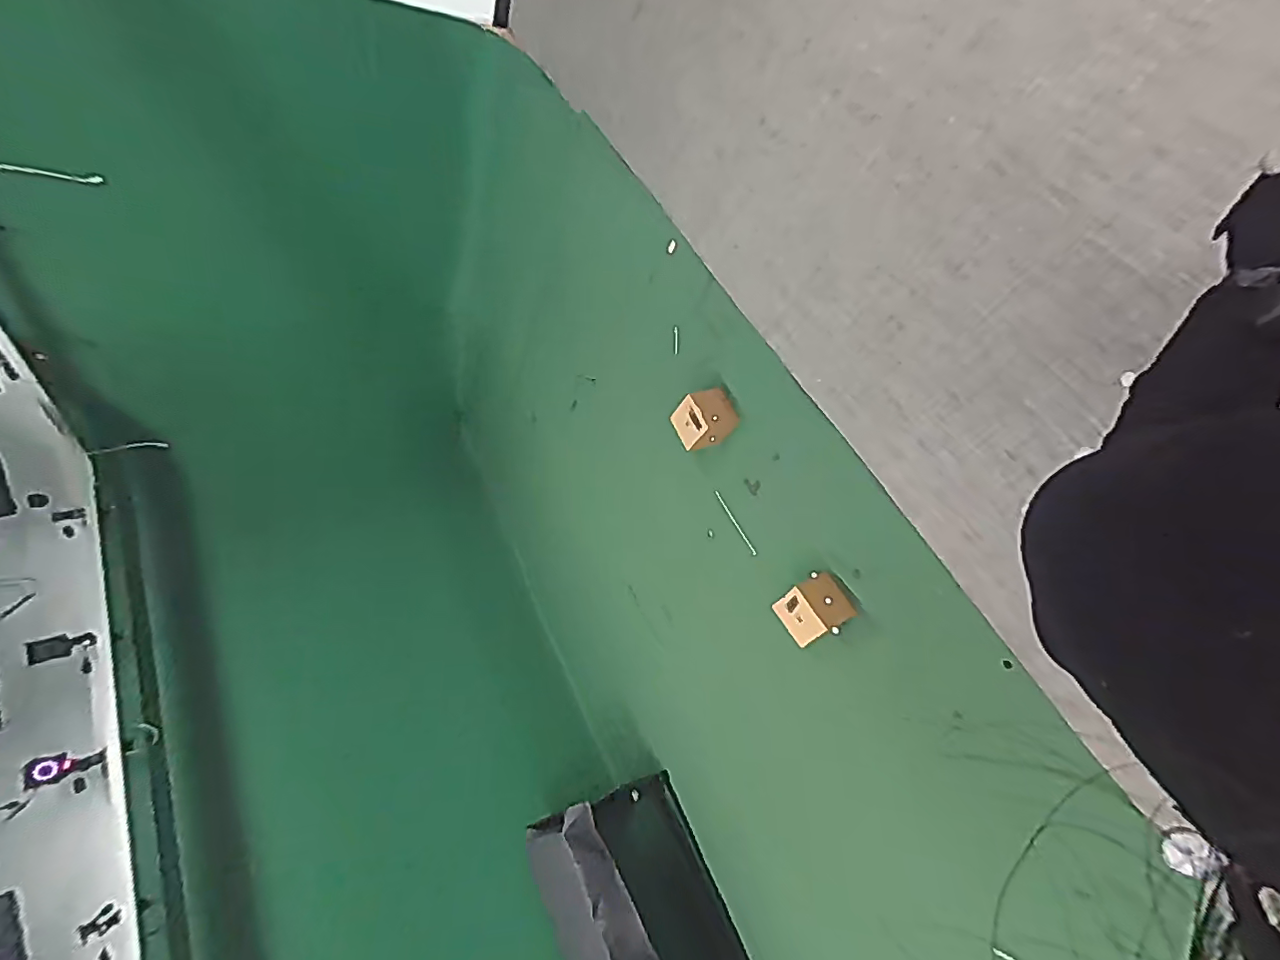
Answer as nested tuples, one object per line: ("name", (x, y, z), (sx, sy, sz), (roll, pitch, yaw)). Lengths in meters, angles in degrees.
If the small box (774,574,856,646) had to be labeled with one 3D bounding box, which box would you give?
("small box", (0.616, 0.450, 1.909), (0.179, 0.176, 0.168), (57, 143, 24))
